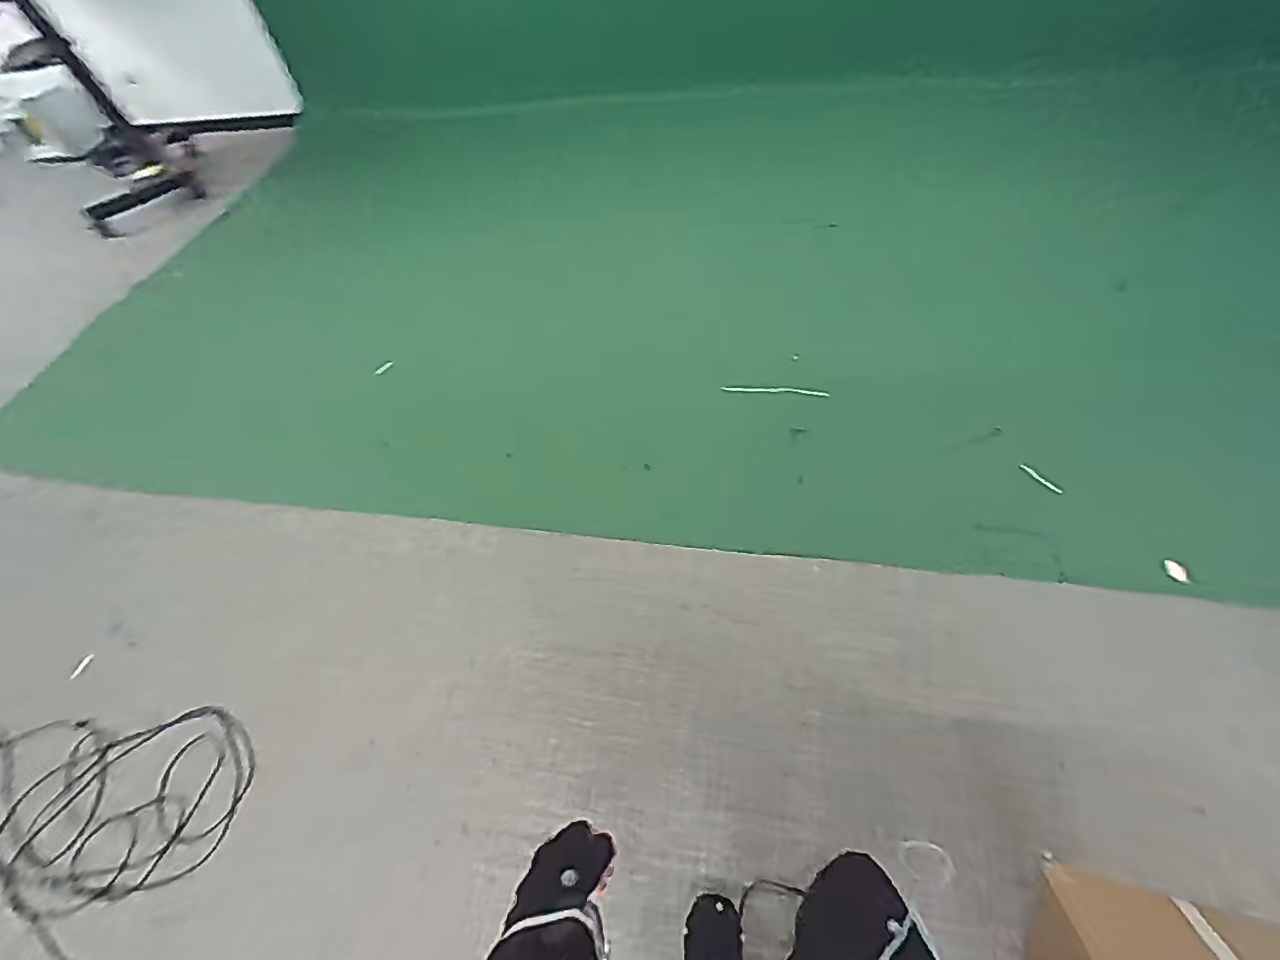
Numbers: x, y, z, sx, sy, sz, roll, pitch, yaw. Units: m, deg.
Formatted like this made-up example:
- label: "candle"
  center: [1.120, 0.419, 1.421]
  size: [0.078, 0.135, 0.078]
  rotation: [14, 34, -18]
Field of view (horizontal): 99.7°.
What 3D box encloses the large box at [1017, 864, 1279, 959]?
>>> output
- label: "large box"
  center: [0.628, 0.724, 0.551]
  size: [0.320, 0.408, 0.320]
  rotation: [9, 96, 17]
